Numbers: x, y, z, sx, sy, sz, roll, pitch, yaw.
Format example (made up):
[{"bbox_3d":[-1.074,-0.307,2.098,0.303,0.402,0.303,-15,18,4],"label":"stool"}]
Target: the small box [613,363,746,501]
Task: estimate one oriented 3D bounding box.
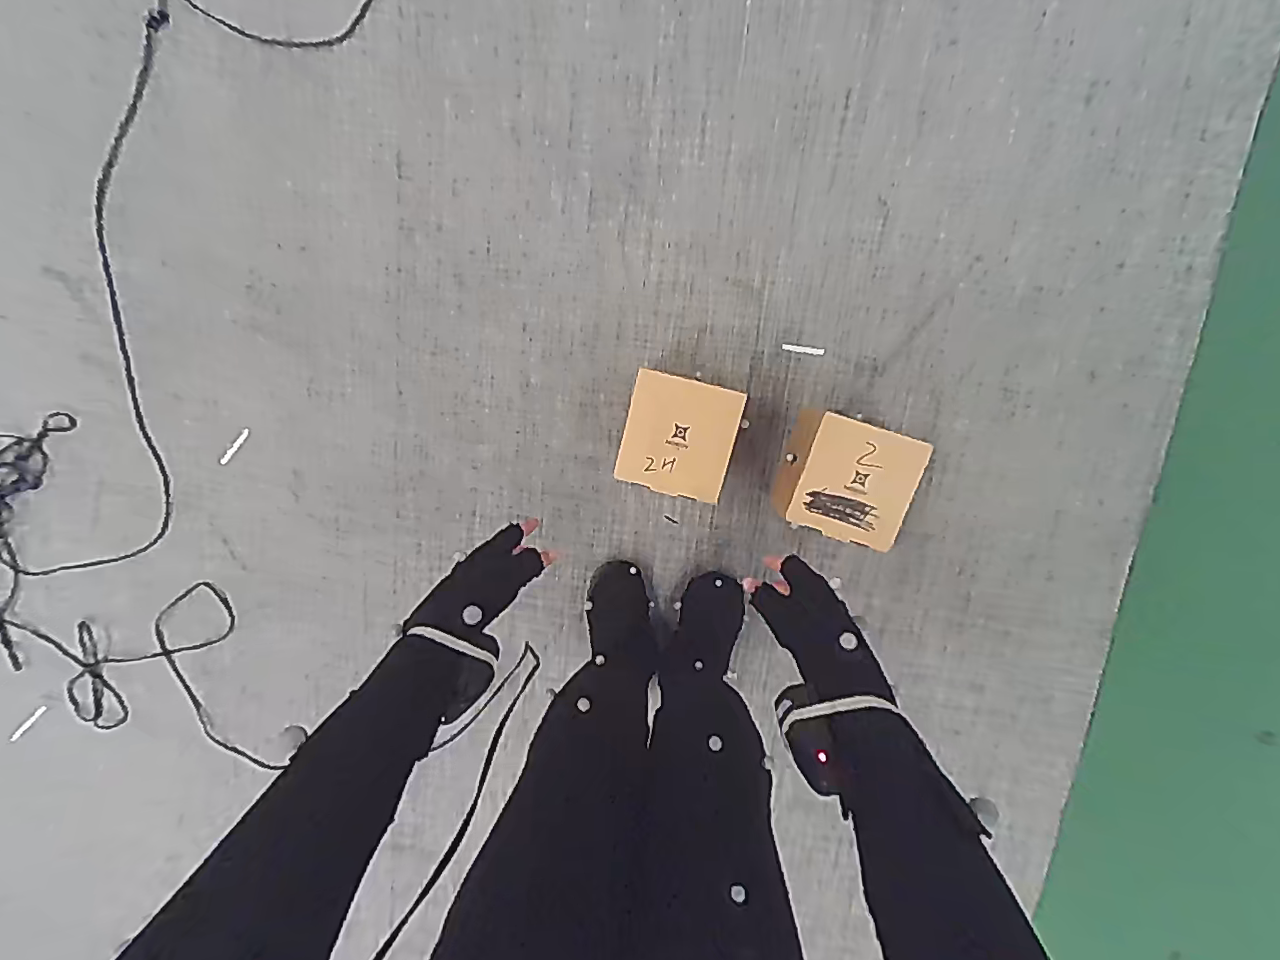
[{"bbox_3d":[0.065,-0.085,0.888,0.168,0.176,0.179,15,102,4],"label":"small box"}]
